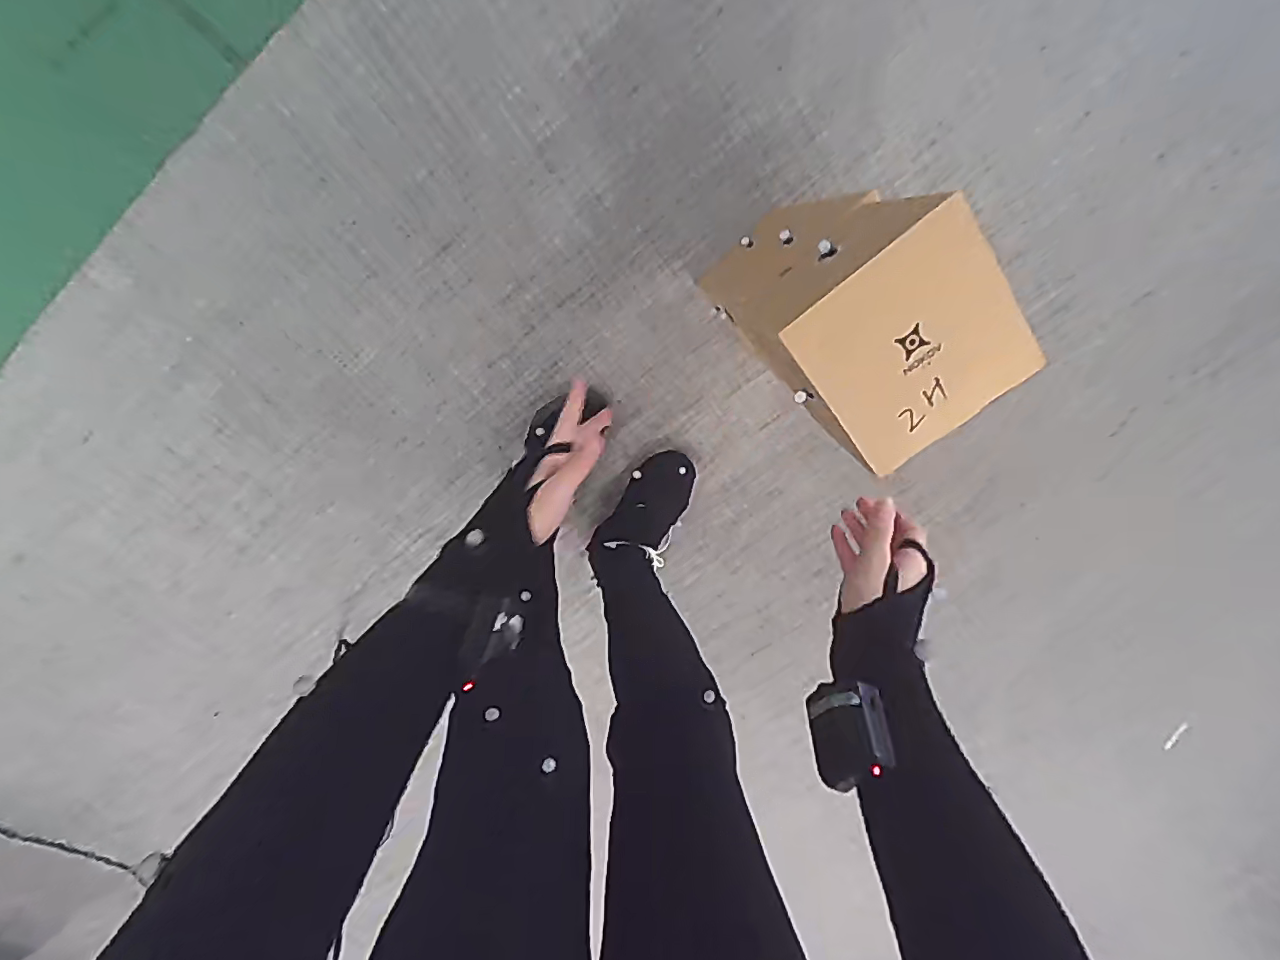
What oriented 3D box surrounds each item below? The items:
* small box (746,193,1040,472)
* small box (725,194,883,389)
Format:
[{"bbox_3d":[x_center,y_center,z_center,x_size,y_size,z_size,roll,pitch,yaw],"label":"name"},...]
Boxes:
[{"bbox_3d":[0.228,-0.144,0.531,0.168,0.176,0.179,-38,111,13],"label":"small box"},{"bbox_3d":[0.223,-0.221,0.677,0.179,0.176,0.168,-39,110,12],"label":"small box"}]
